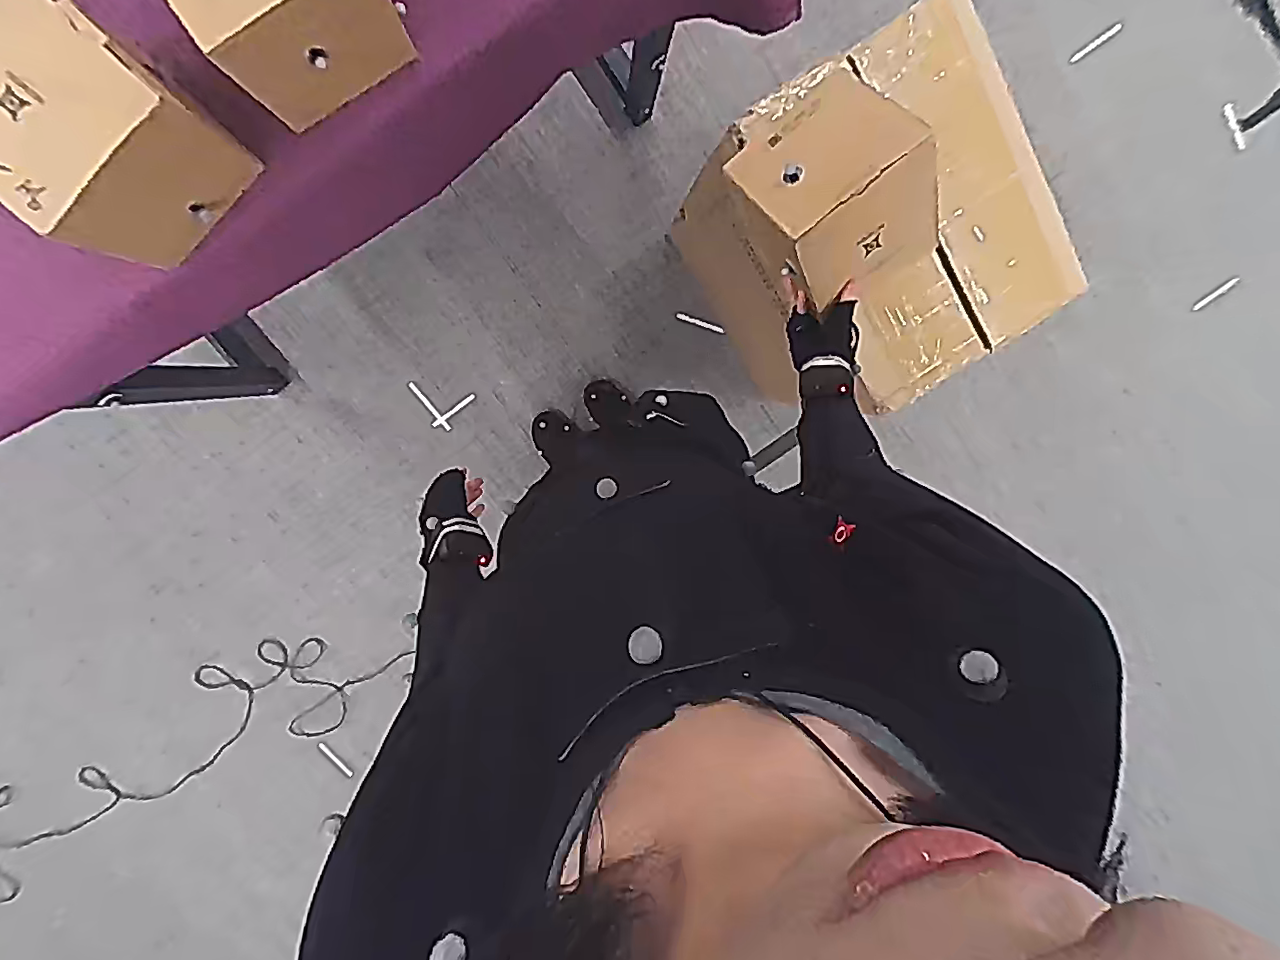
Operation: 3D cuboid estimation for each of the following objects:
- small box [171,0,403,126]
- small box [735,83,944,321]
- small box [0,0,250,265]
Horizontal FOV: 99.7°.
[{"bbox_3d":[-0.371,-0.516,0.552,0.179,0.176,0.168,-32,101,1],"label":"small box"},{"bbox_3d":[0.242,-0.341,0.664,0.168,0.179,0.176,-34,58,16],"label":"small box"},{"bbox_3d":[-0.558,-0.359,0.561,0.168,0.176,0.179,43,92,-11],"label":"small box"}]
